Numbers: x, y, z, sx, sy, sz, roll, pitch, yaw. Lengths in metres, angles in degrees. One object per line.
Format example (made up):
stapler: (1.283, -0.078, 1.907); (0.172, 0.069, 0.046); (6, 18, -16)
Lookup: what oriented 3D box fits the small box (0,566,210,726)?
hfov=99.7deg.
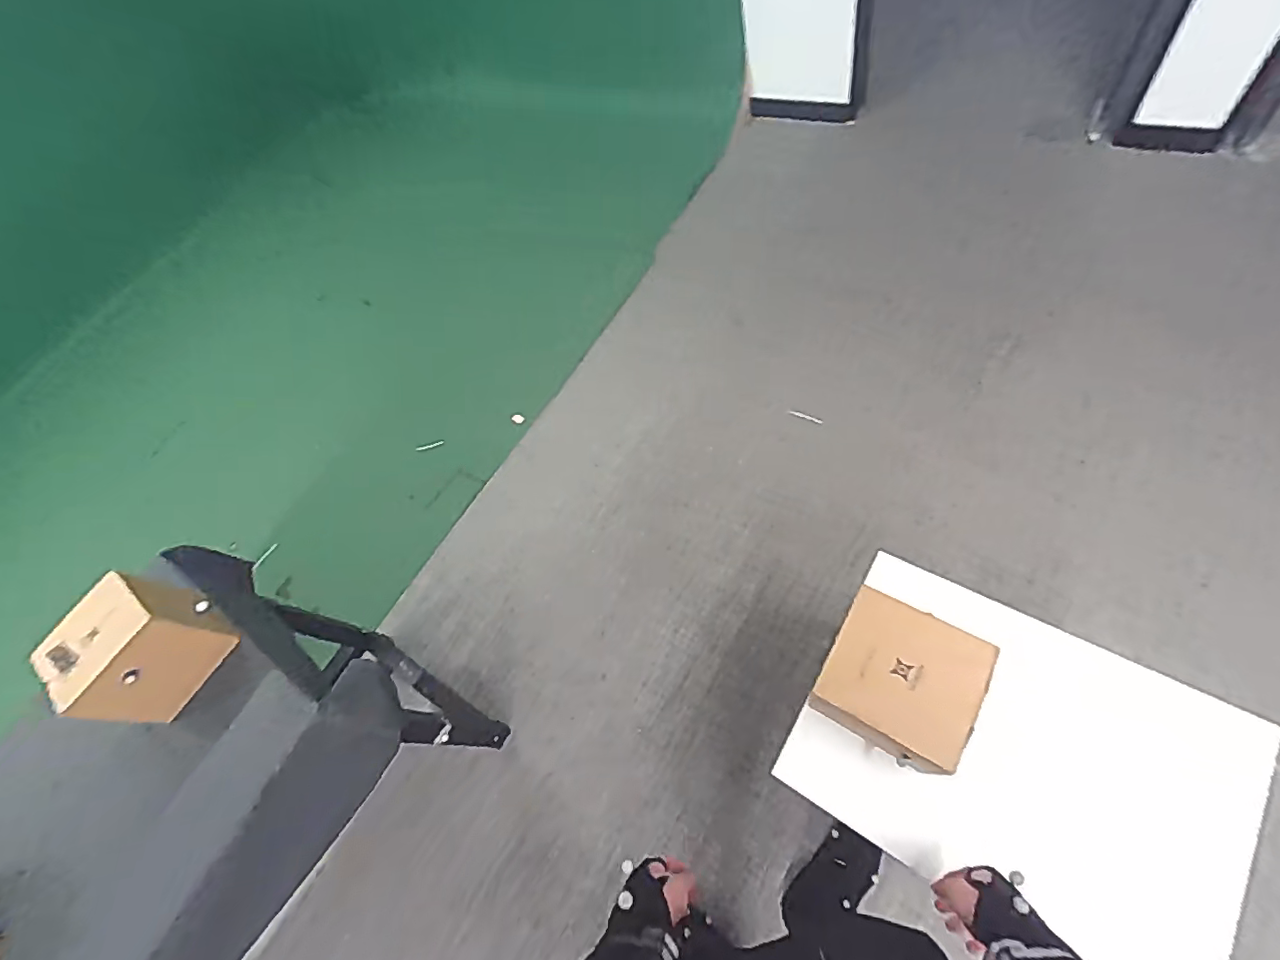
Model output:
small box: (-0.868, 0.276, 0.881); (0.168, 0.176, 0.179); (27, 70, 25)

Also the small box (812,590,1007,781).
small box: (0.351, 0.279, 0.734); (0.179, 0.176, 0.168); (24, 68, 25)
